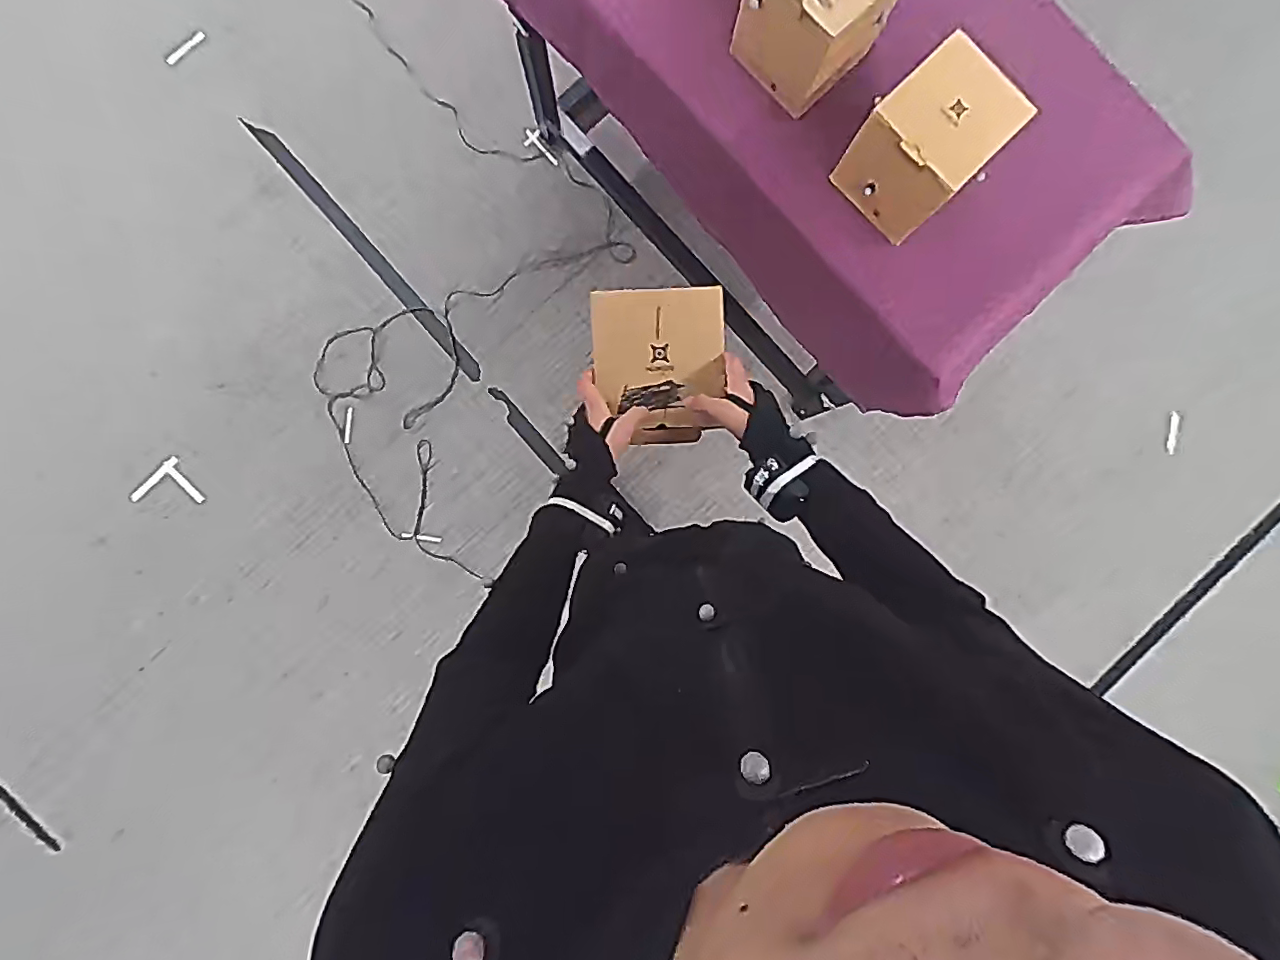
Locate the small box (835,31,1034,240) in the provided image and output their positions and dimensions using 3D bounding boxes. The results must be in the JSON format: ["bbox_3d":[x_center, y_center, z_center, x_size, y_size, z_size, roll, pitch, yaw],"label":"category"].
[{"bbox_3d":[0.442,-0.520,0.843,0.179,0.176,0.168,-45,91,-2],"label":"small box"}]

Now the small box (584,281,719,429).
[{"bbox_3d":[0.015,-0.166,0.751,0.168,0.176,0.179,-3,97,-1],"label":"small box"}]
